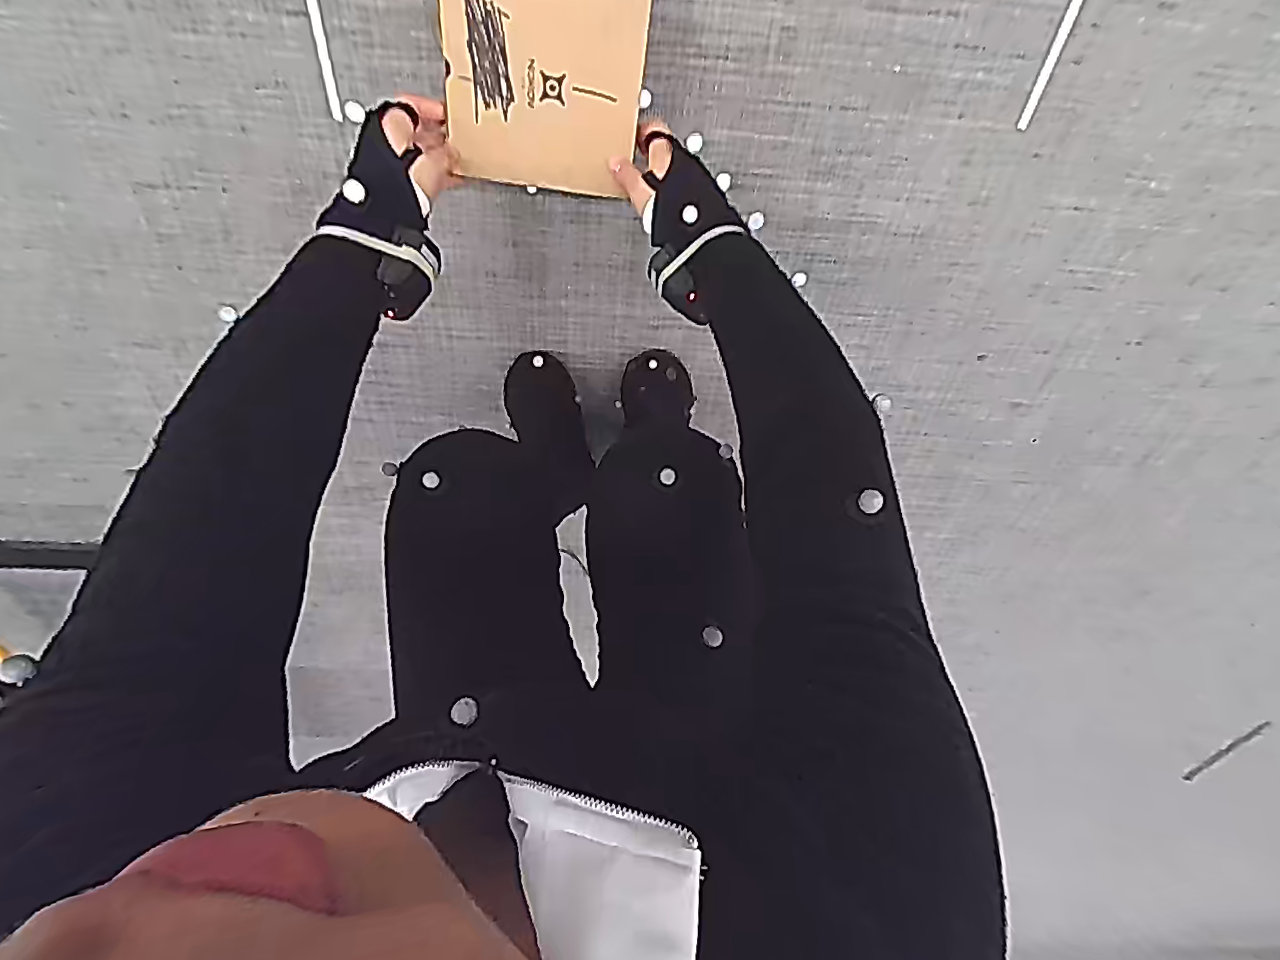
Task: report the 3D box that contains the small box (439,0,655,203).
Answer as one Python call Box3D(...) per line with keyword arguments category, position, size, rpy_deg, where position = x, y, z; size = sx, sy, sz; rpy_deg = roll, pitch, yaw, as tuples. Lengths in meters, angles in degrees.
Box3D(category="small box", position=(-0.087, -0.394, 0.538), size=(0.179, 0.176, 0.168), rpy_deg=(5, 129, -7))
